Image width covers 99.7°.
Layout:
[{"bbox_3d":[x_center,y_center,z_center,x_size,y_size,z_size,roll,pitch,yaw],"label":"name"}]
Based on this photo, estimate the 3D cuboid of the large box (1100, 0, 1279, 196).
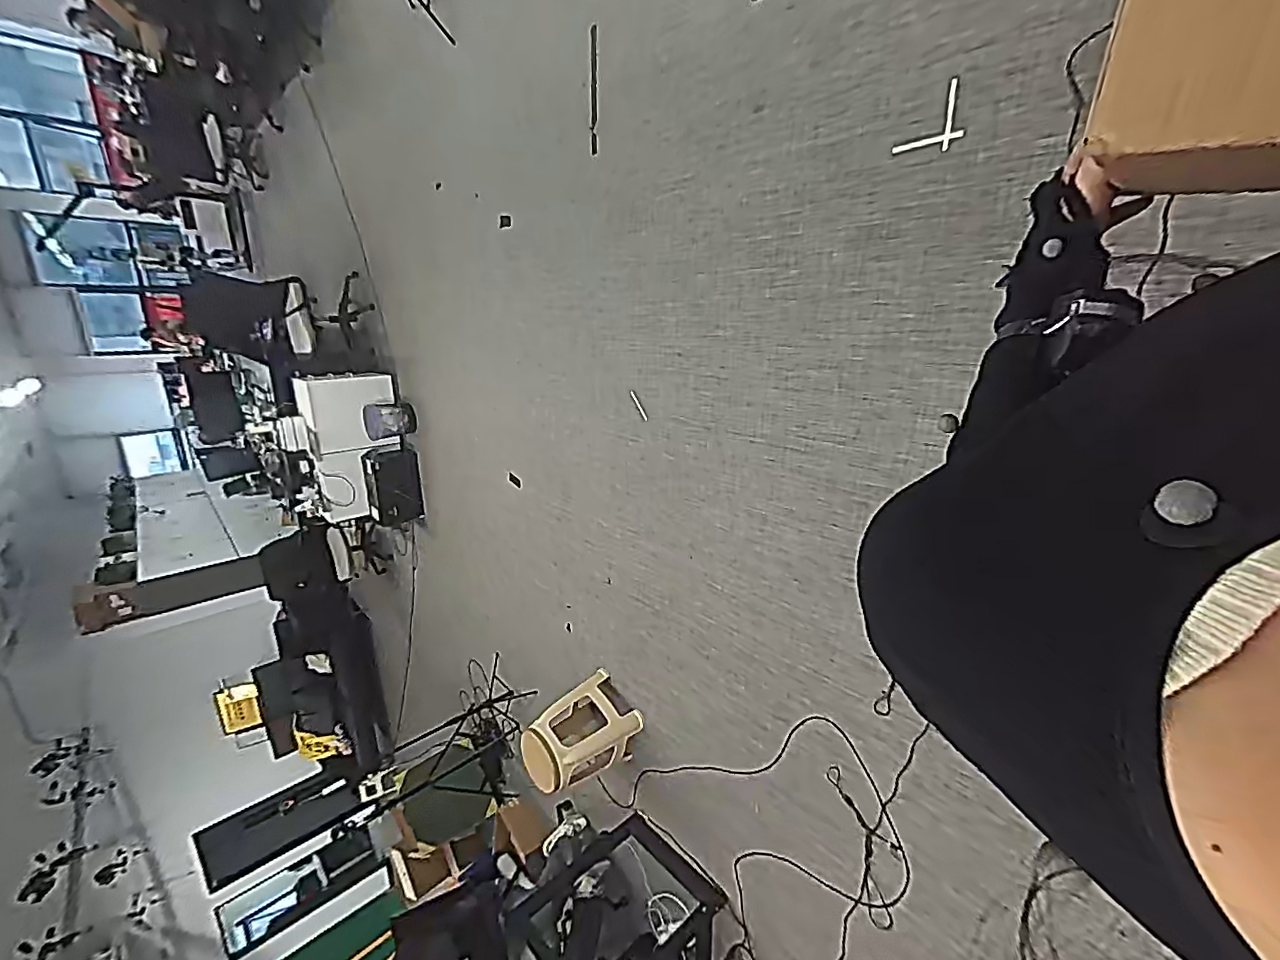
[{"bbox_3d":[0.454,-0.290,0.180,0.408,0.320,0.320,18,120,36],"label":"large box"}]
